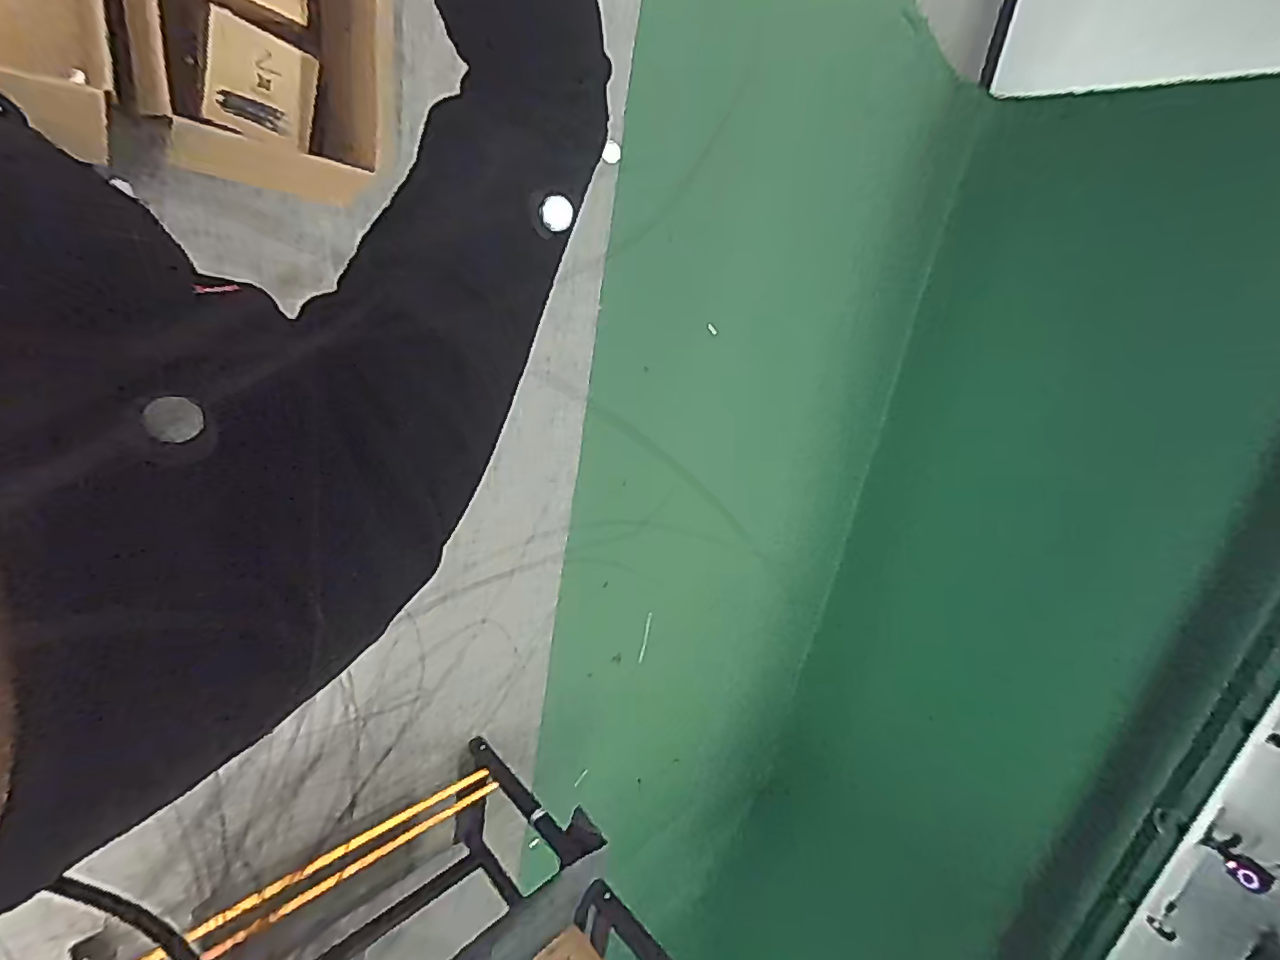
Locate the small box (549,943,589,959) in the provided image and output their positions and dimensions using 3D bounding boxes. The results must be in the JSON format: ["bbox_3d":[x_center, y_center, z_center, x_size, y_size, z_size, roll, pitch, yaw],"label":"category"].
[{"bbox_3d":[-0.226,1.561,1.630,0.168,0.176,0.179,-6,114,-47],"label":"small box"}]
